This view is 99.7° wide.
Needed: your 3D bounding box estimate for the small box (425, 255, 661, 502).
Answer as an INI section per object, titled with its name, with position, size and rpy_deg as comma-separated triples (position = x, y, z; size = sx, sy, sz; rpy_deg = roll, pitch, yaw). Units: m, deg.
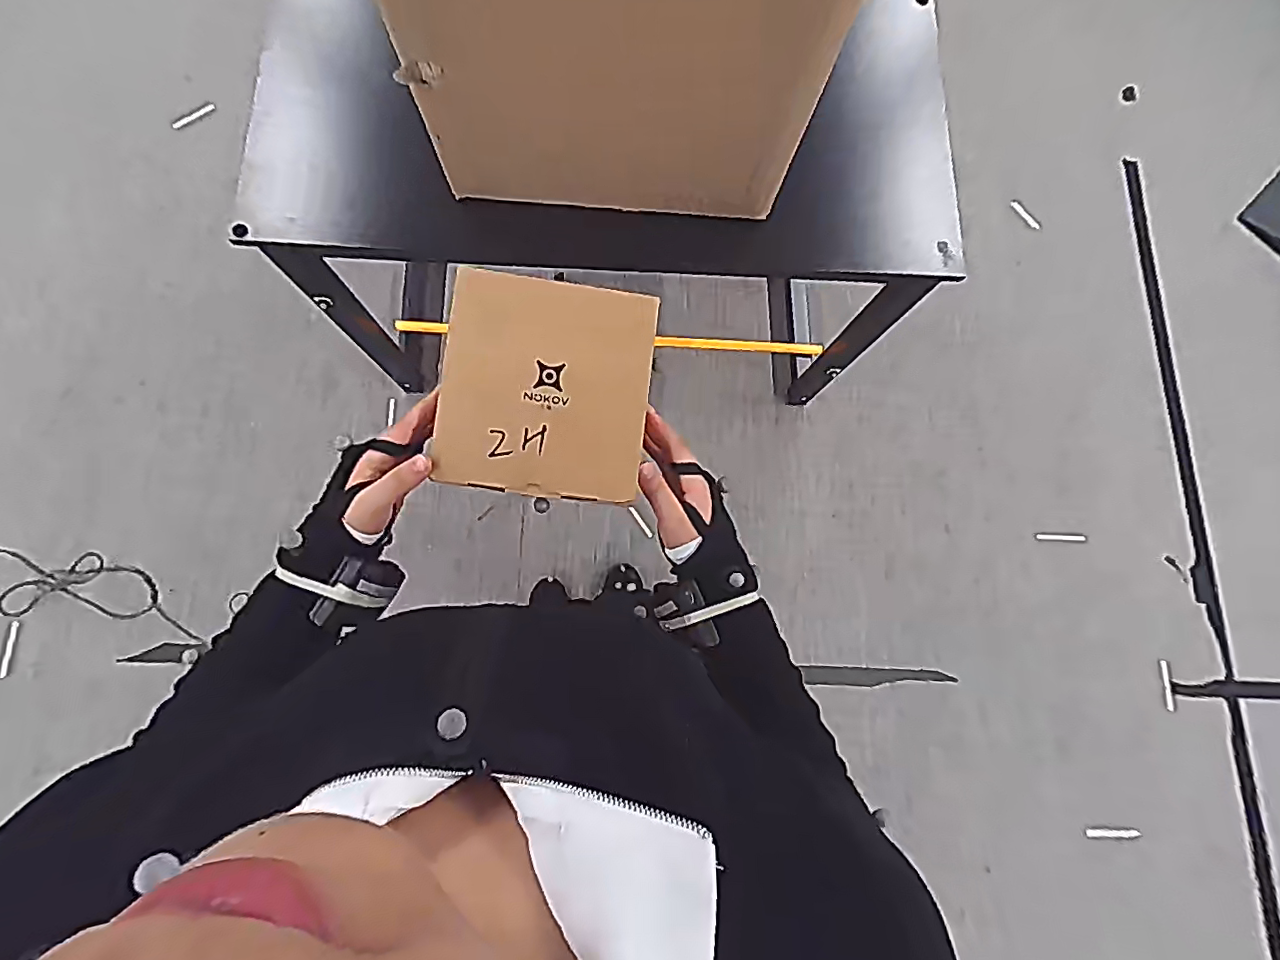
[small box]
position = -0.082, -0.077, 0.505
size = 0.168, 0.176, 0.179
rpy_deg = 8, 87, -5
